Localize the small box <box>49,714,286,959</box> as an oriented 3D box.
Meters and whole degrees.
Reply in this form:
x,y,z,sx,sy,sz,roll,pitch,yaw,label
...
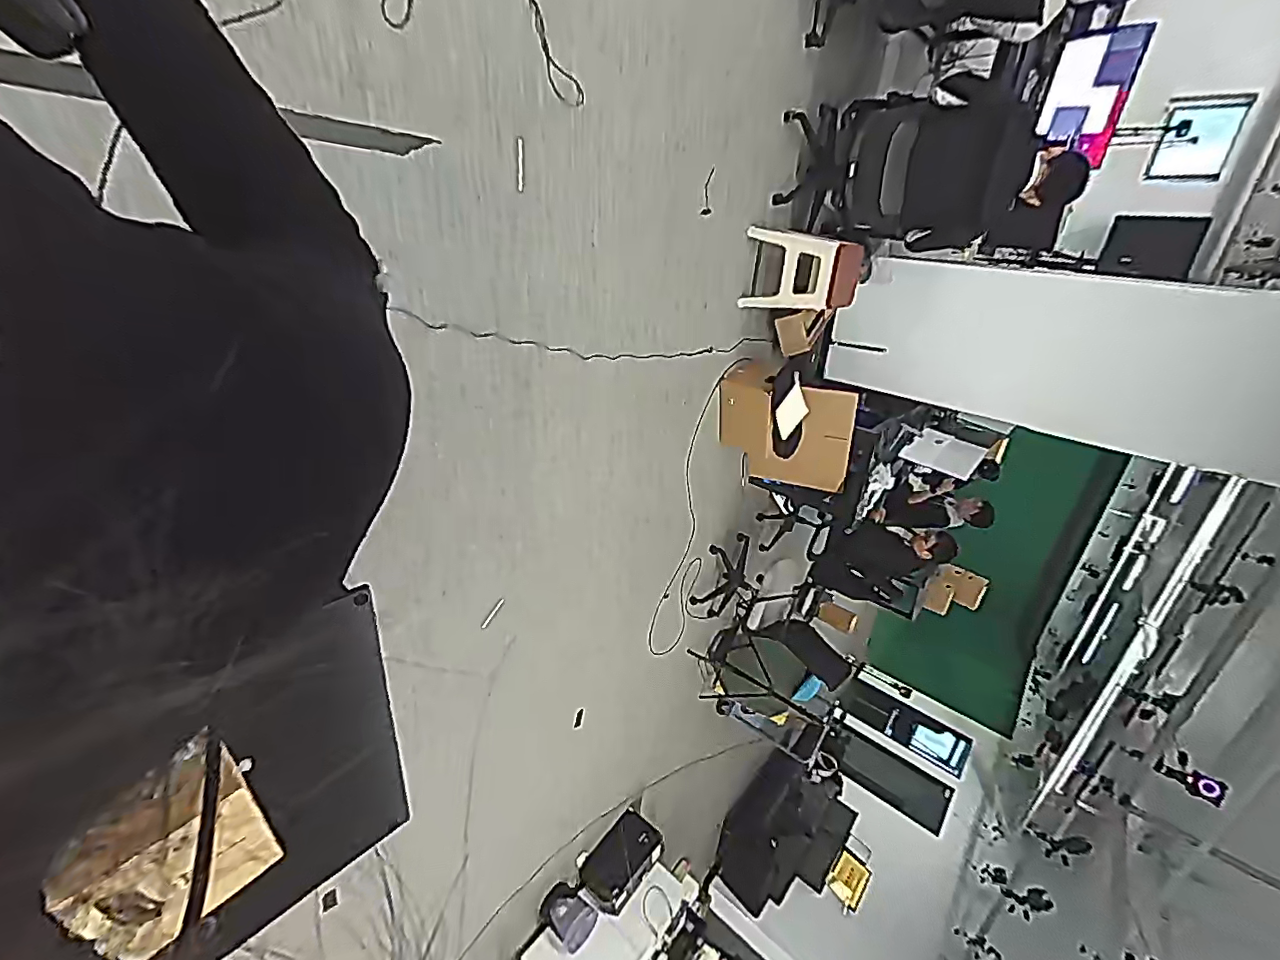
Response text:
x,y,z,sx,sy,sz,roll,pitch,yaw,label
-0.602,0.448,0.693,0.179,0.176,0.168,-29,131,-43,small box
